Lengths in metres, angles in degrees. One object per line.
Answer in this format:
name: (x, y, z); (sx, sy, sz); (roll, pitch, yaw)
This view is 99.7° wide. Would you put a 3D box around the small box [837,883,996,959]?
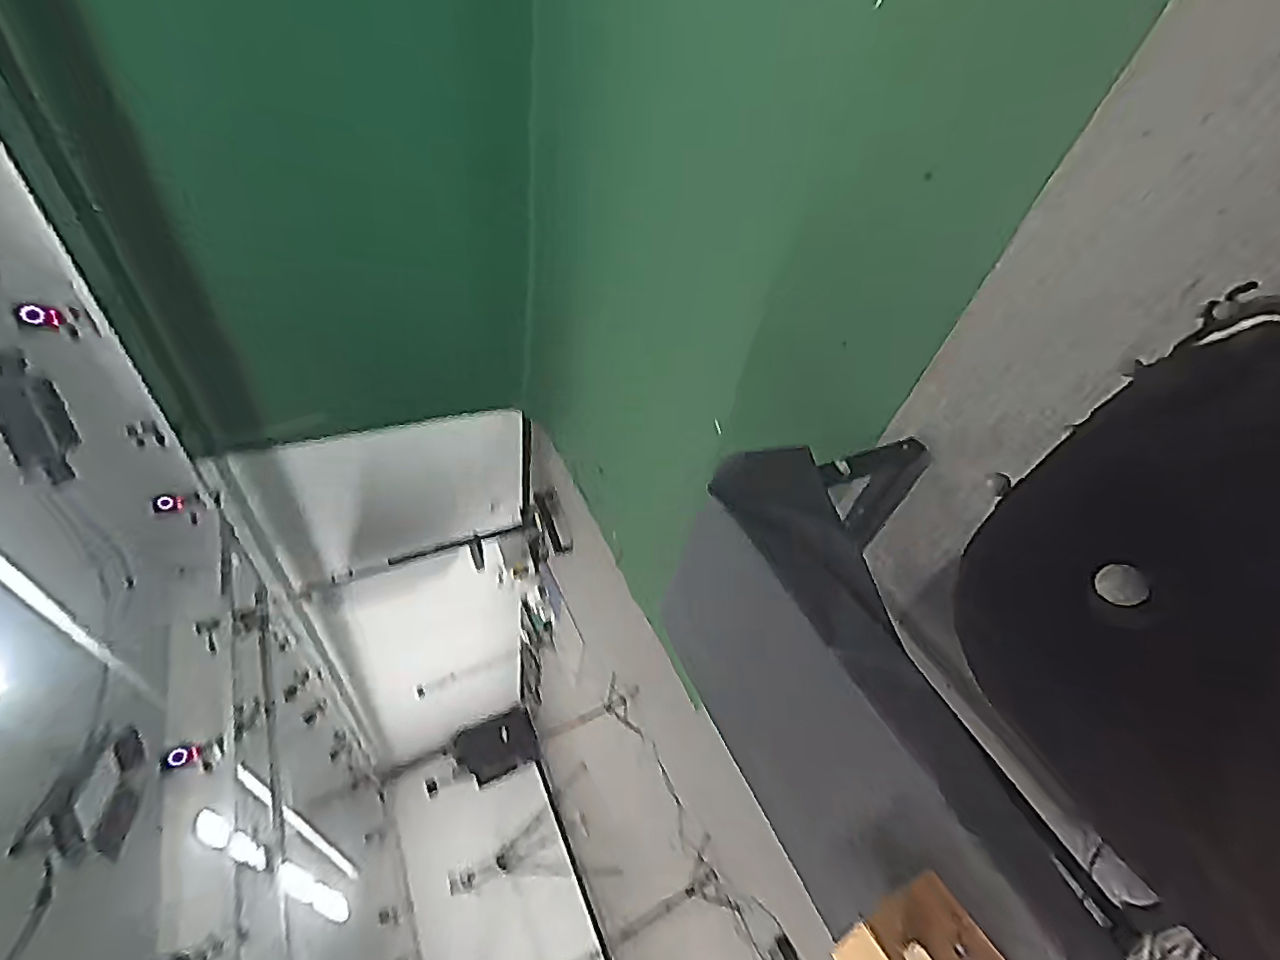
small box: (0.453, 0.802, 0.869); (0.168, 0.176, 0.179); (49, 143, 45)
